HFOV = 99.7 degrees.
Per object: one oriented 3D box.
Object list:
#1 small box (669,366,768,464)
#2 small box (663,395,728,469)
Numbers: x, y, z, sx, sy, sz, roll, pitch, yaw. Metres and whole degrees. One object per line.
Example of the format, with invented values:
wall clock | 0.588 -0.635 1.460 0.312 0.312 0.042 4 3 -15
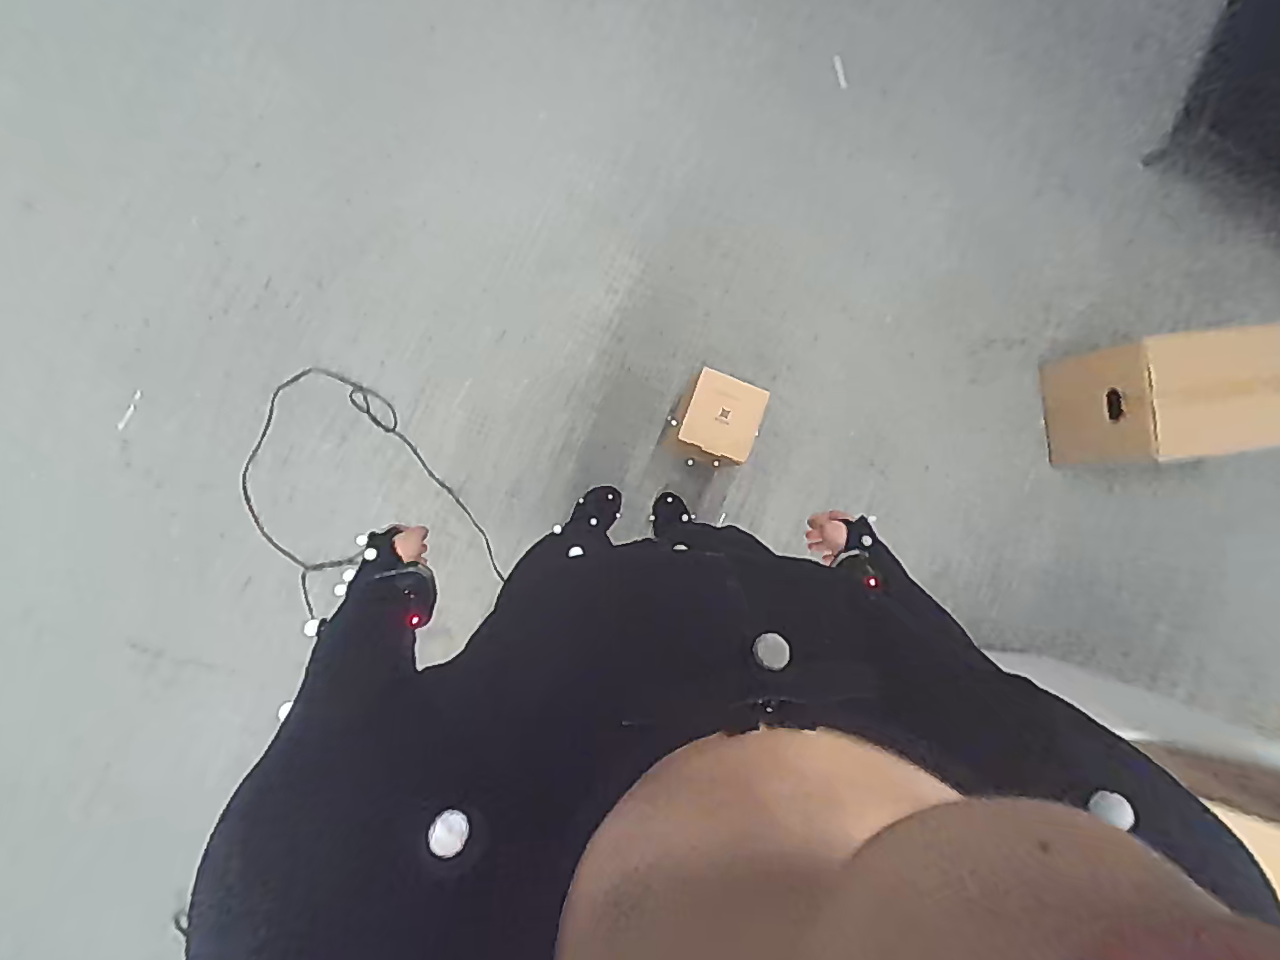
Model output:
small box | 0.177 -0.143 1.282 0.168 0.176 0.179 21 86 -6
small box | 0.171 -0.138 1.446 0.168 0.176 0.179 23 87 -5
